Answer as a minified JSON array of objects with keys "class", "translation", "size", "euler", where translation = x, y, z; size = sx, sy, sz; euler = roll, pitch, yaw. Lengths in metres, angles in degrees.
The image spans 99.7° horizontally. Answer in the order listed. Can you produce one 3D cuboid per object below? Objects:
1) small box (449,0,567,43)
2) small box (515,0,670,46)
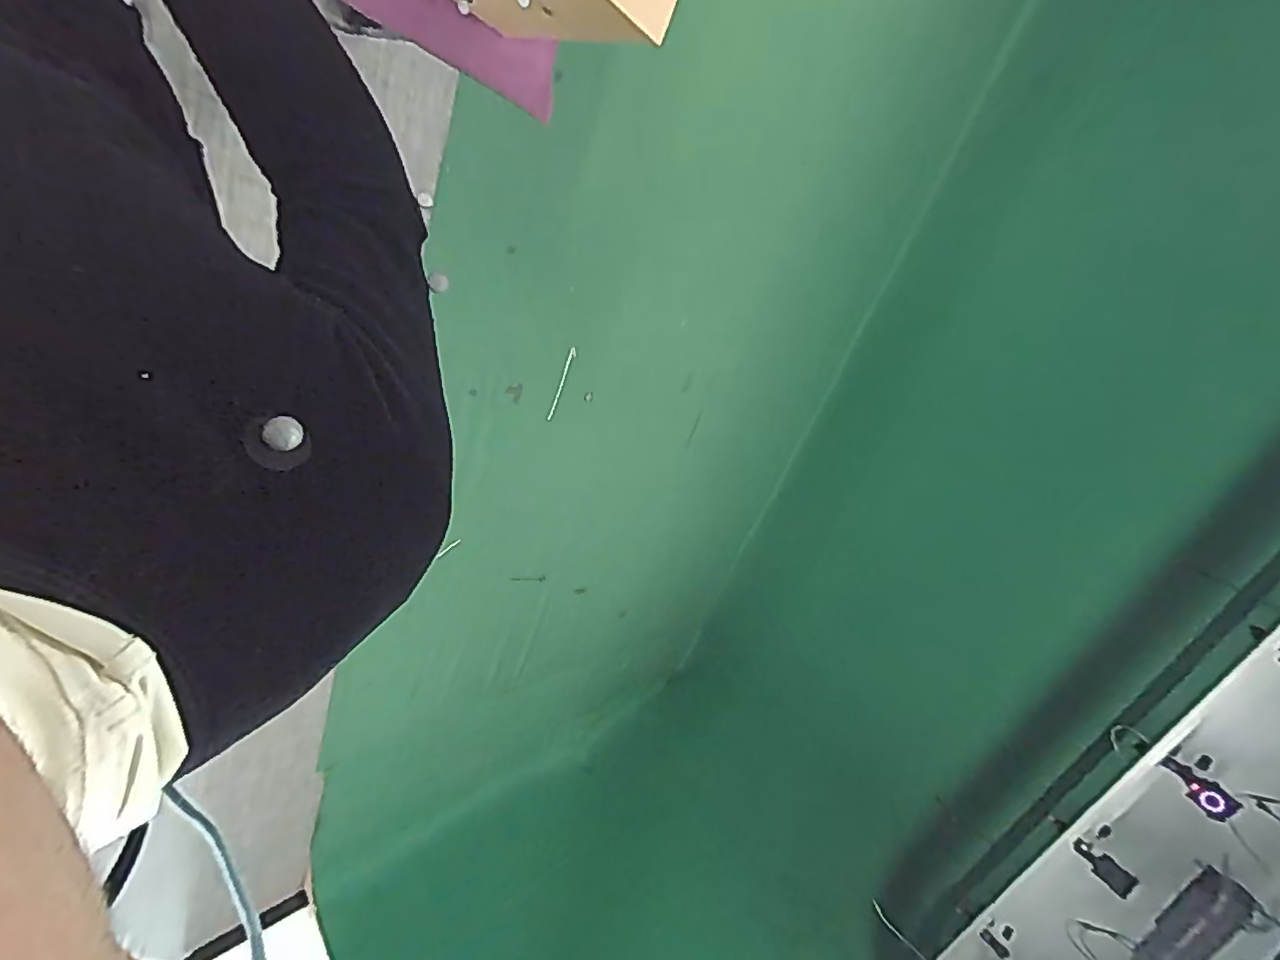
[{"class":"small box","translation":[-0.171,-0.669,0.644],"size":[0.179,0.176,0.168],"euler":[0,119,-50]},{"class":"small box","translation":[-0.059,-0.592,0.553],"size":[0.168,0.176,0.179],"euler":[1,119,-48]}]
